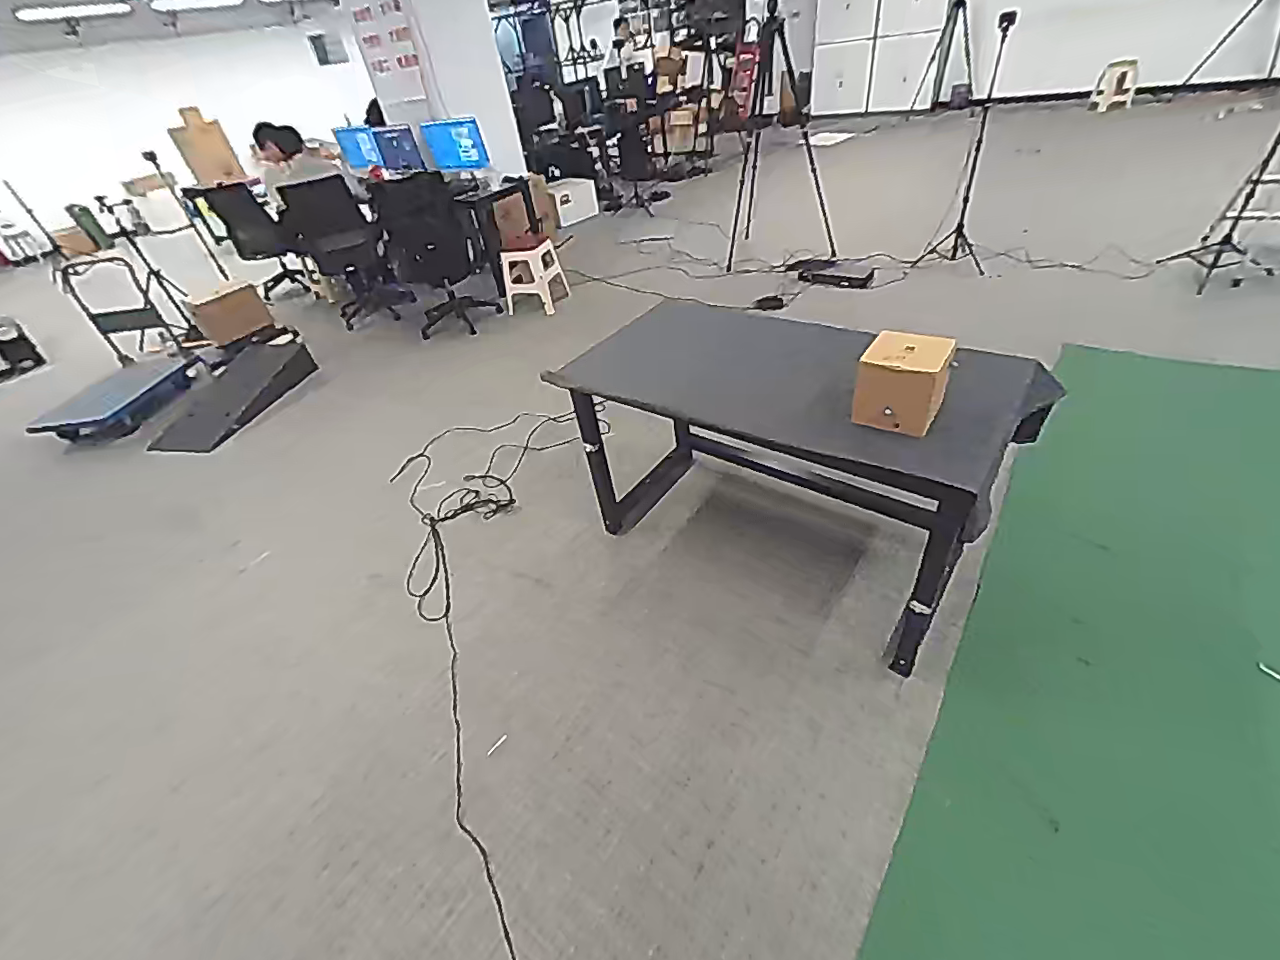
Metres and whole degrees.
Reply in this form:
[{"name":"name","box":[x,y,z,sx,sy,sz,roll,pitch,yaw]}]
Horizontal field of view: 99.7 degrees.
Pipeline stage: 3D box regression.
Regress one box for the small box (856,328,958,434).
[{"name":"small box","box":[0.619,-0.234,1.269,0.168,0.176,0.179,18,47,33]}]
